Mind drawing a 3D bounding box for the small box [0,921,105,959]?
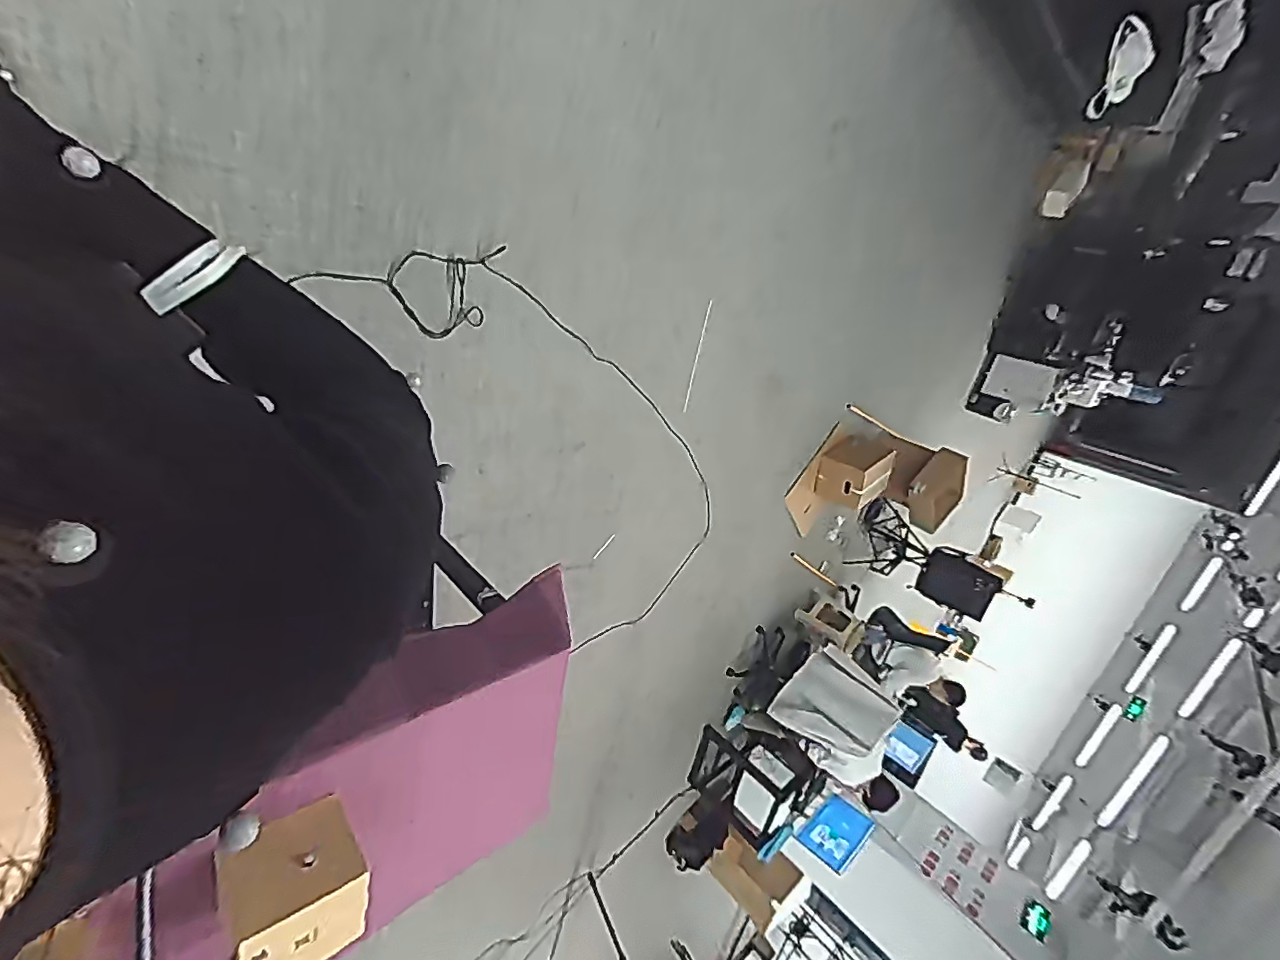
[{"bbox_3d":[-0.777,0.718,0.671,0.168,0.176,0.179,-6,117,-46],"label":"small box"}]

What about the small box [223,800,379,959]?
[{"bbox_3d":[-0.555,0.676,0.885,0.179,0.176,0.168,-8,118,-46],"label":"small box"}]
